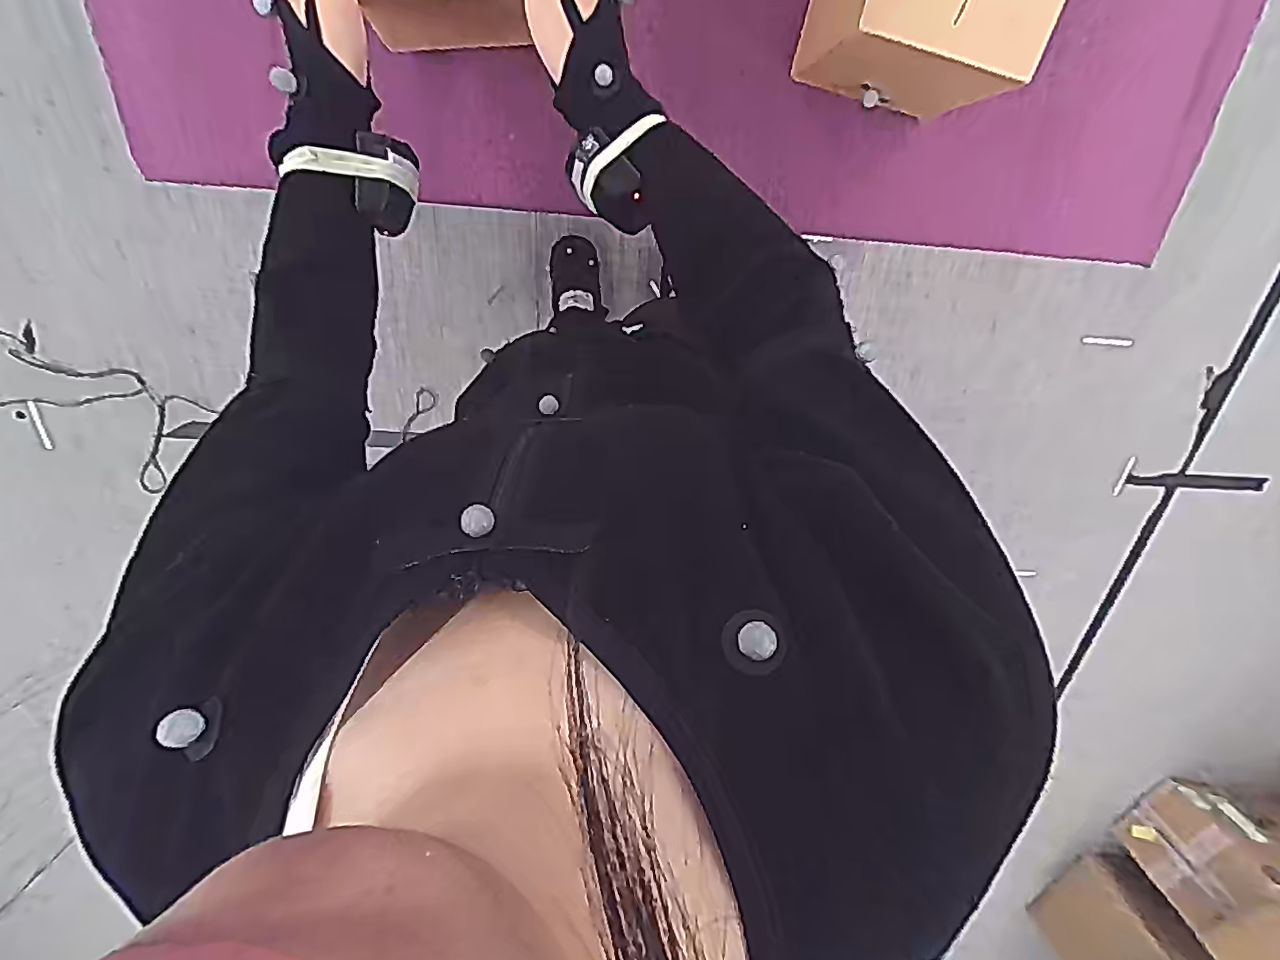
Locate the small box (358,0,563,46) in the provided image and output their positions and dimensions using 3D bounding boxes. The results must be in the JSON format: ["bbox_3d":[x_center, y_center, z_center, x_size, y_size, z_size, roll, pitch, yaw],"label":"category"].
[{"bbox_3d":[-0.154,-0.479,0.429,0.179,0.176,0.168,-6,108,-4],"label":"small box"}]

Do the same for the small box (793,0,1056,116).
[{"bbox_3d":[0.262,-0.466,0.494,0.168,0.176,0.179,9,114,-9],"label":"small box"}]
